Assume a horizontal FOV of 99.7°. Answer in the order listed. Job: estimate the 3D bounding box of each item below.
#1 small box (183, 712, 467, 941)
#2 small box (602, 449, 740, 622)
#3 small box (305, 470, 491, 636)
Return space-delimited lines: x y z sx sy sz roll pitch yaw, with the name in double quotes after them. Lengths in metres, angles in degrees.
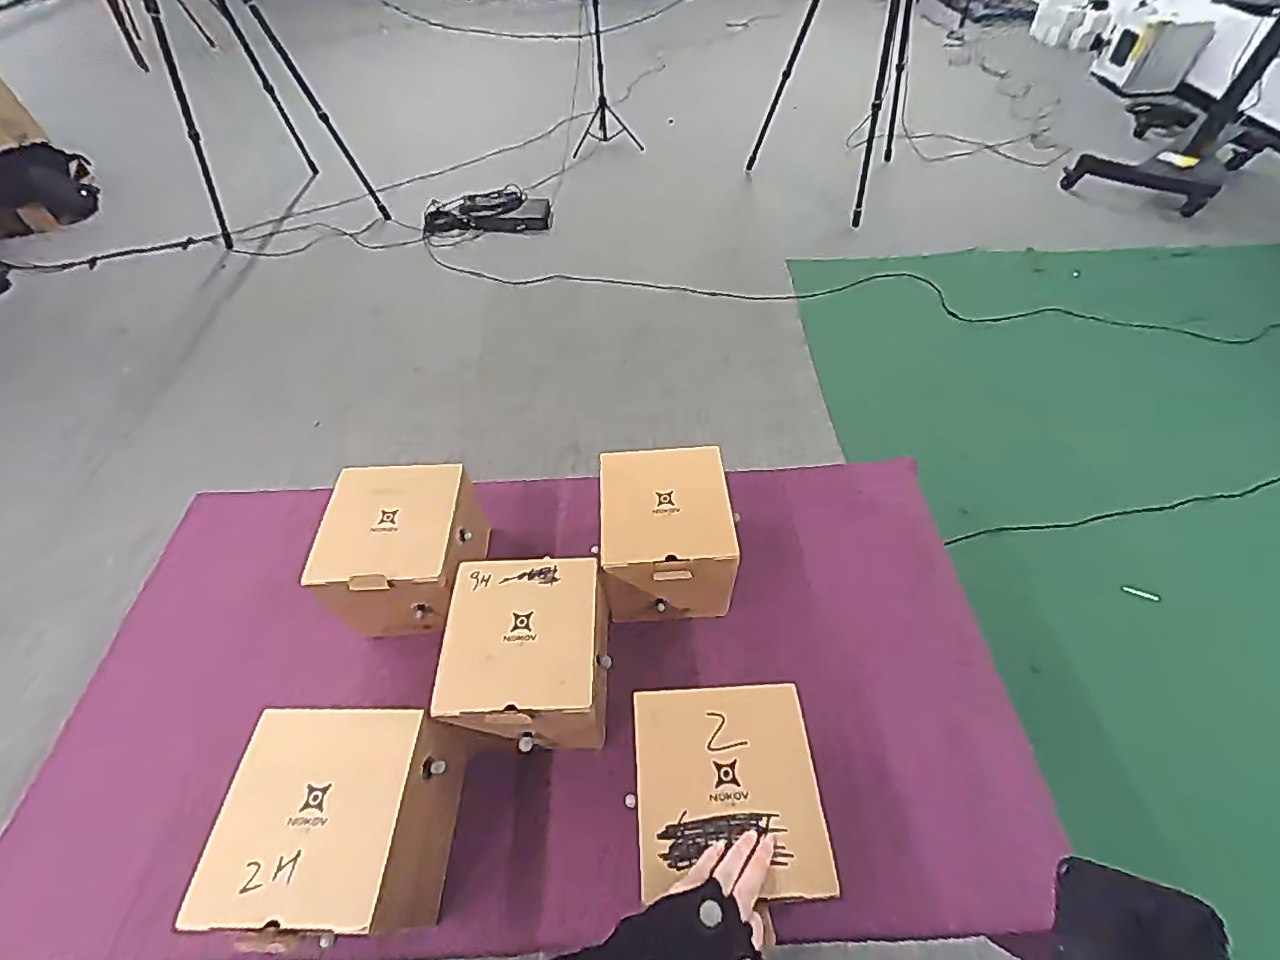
-0.292 0.353 0.555 0.168 0.176 0.179 -1 52 3 "small box"
0.035 0.080 0.752 0.168 0.176 0.179 -5 54 -1 "small box"
-0.314 0.107 0.747 0.168 0.176 0.179 -2 53 0 "small box"
